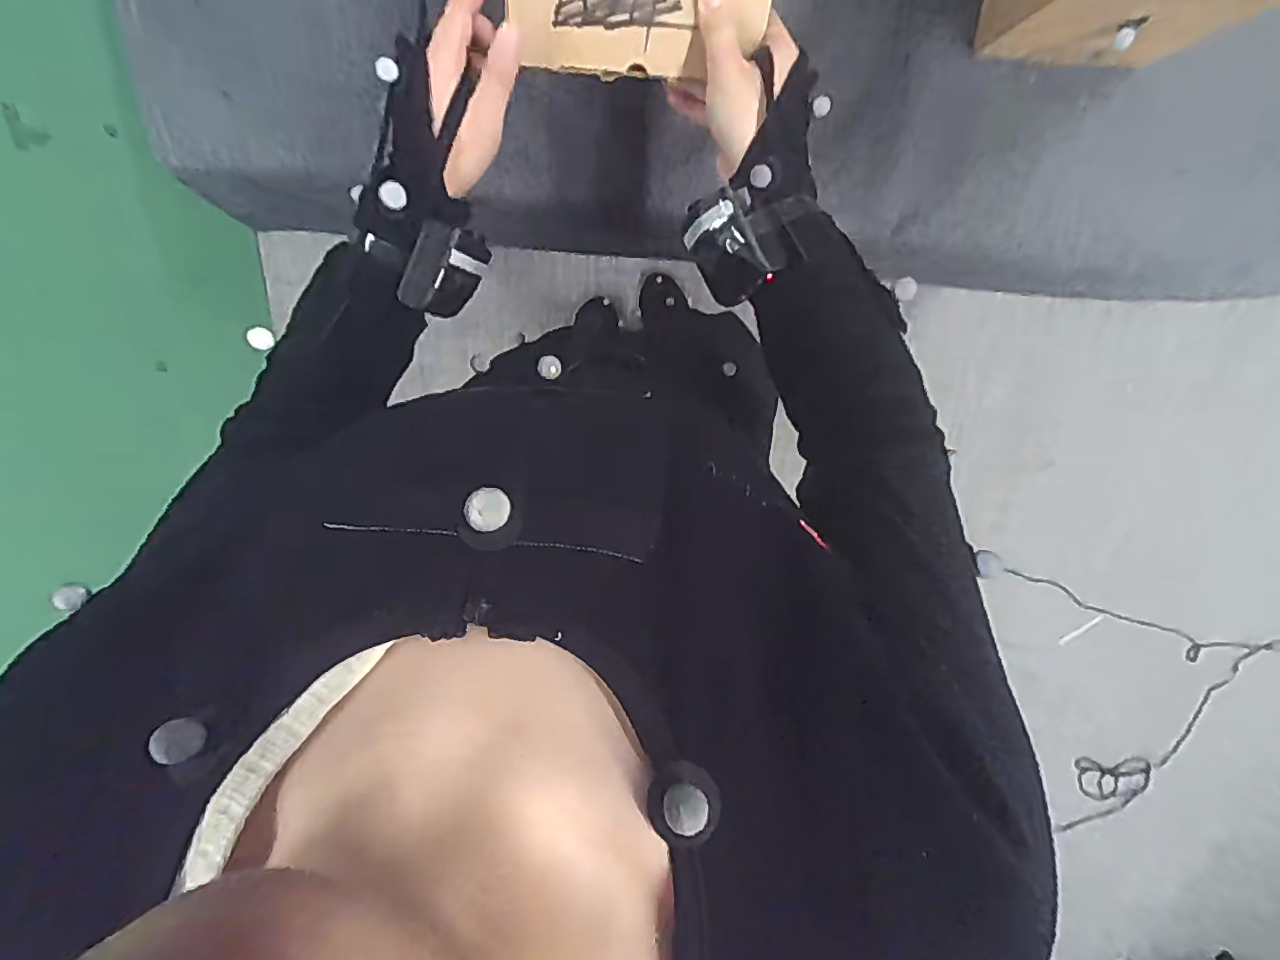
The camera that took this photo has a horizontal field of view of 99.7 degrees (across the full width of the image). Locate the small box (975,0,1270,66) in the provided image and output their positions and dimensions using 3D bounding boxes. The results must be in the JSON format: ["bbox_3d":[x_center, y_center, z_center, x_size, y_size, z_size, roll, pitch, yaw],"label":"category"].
[{"bbox_3d":[0.387,-0.439,0.400,0.168,0.176,0.179,2,110,-1],"label":"small box"}]

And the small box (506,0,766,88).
[{"bbox_3d":[-0.003,-0.389,0.367,0.168,0.176,0.179,0,130,-8],"label":"small box"}]
